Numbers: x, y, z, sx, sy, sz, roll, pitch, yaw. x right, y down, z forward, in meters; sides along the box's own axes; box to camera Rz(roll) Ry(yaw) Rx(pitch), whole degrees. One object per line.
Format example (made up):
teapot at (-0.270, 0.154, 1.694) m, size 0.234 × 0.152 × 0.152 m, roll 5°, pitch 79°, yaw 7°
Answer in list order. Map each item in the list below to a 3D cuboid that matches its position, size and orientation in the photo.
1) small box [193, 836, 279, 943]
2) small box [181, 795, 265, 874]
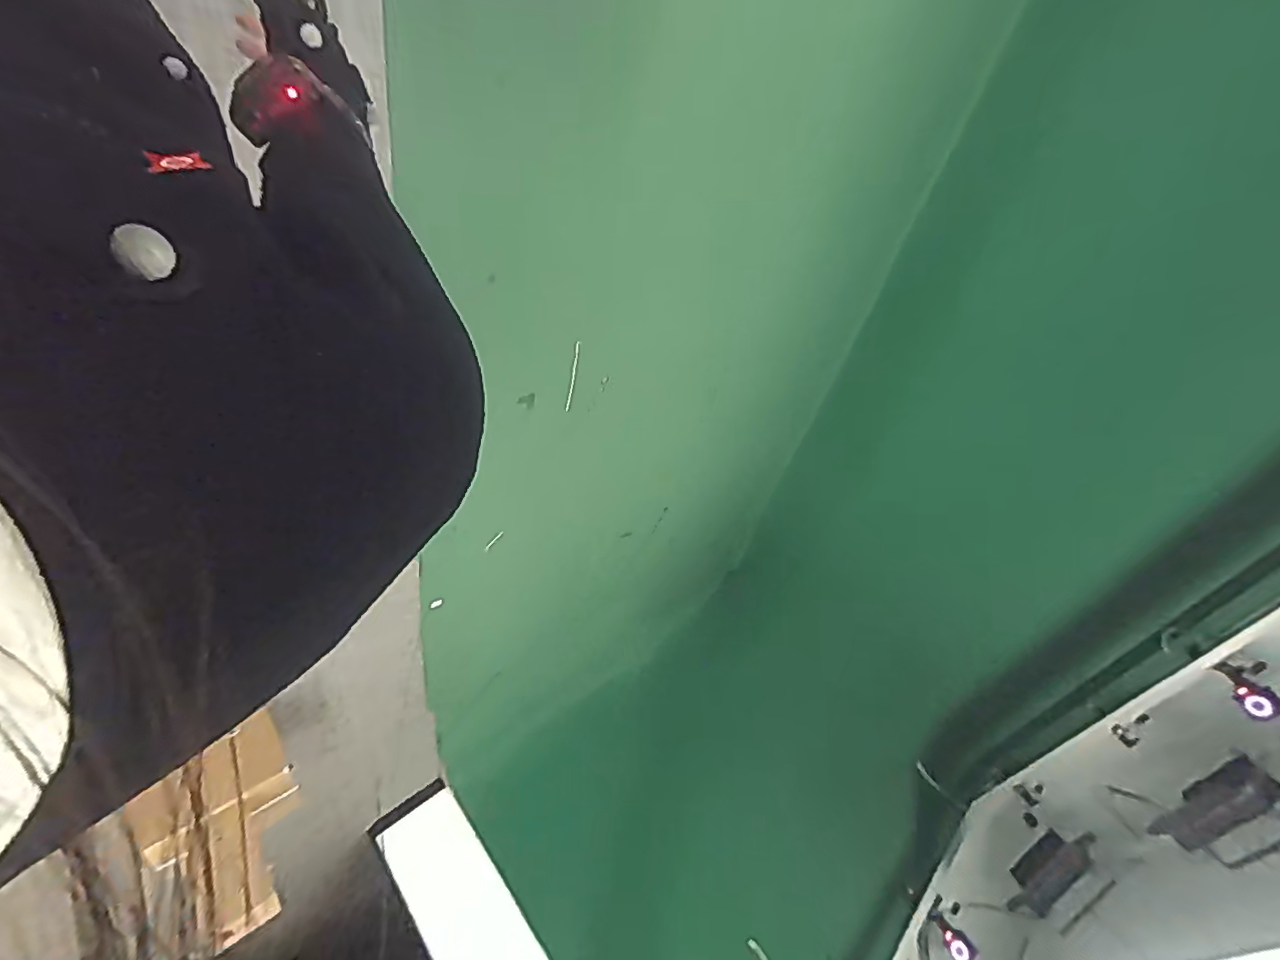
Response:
small box at (-1.257, 1.266, 1.679) m, size 0.179 × 0.176 × 0.168 m, roll -20°, pitch 141°, yaw -44°
small box at (-1.363, 1.175, 1.768) m, size 0.168 × 0.176 × 0.179 m, roll -22°, pitch 141°, yaw -41°
